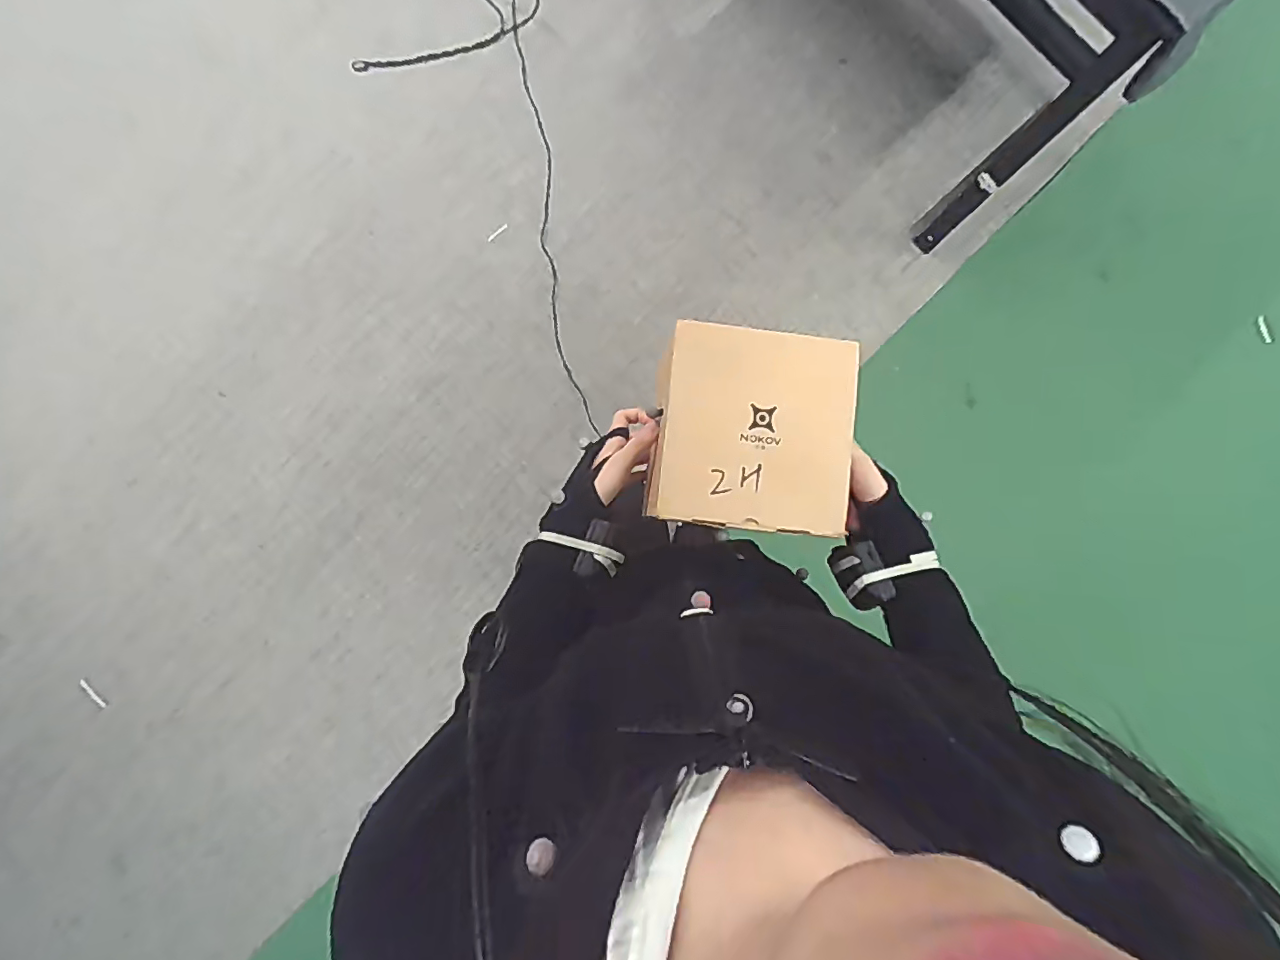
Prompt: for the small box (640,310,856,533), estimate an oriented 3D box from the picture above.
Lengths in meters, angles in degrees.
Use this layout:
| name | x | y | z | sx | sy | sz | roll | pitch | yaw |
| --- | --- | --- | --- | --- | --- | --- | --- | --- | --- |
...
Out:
| name | x | y | z | sx | sy | sz | roll | pitch | yaw |
| --- | --- | --- | --- | --- | --- | --- | --- | --- | --- |
| small box | 0.092 | -0.044 | 0.536 | 0.168 | 0.176 | 0.179 | 7 | 86 | -3 |
